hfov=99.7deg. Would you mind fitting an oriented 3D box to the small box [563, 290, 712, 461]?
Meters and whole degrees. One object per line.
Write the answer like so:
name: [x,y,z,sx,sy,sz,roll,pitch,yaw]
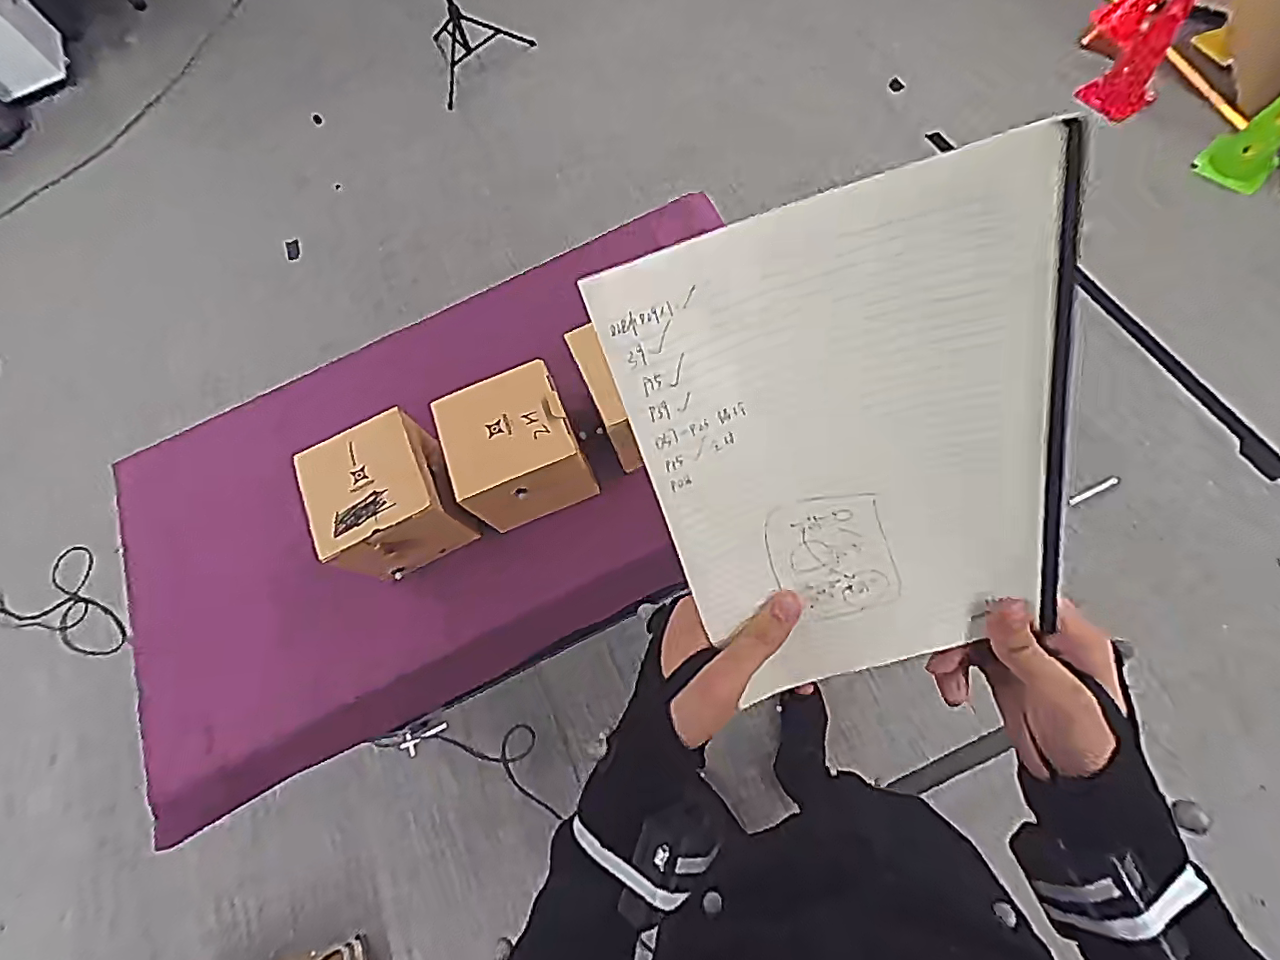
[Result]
small box: [0.004,-0.147,0.833,0.168,0.176,0.179,-25,68,-2]
